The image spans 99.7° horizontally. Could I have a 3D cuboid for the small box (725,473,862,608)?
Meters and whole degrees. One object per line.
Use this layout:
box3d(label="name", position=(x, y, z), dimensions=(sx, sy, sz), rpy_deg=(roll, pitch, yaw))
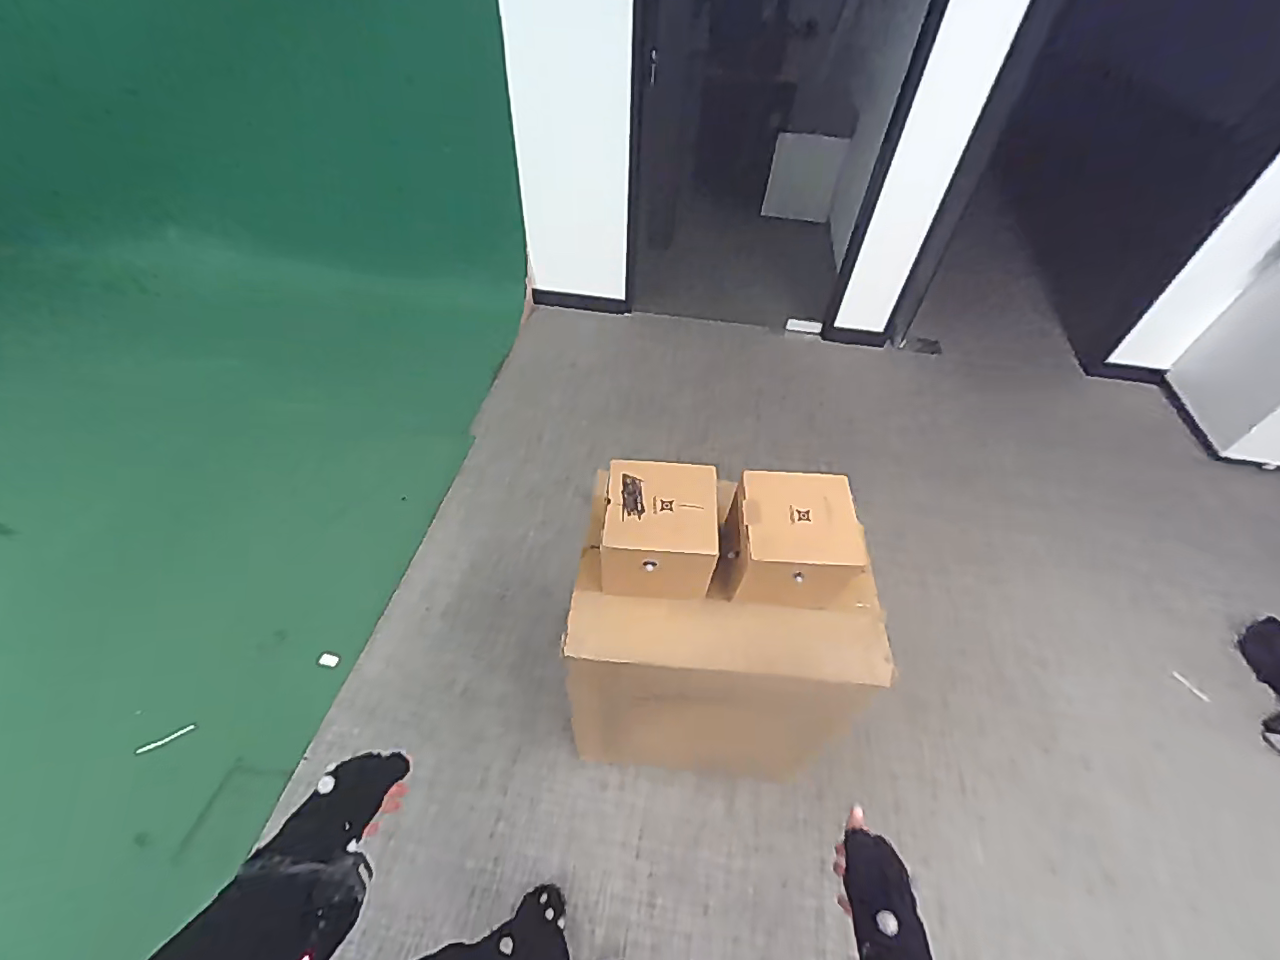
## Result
box3d(label="small box", position=(0.243, 0.106, 0.908), dimensions=(0.179, 0.176, 0.168), rpy_deg=(4, 55, -2))

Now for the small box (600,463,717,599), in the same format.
box3d(label="small box", position=(0.029, 0.090, 0.907), dimensions=(0.179, 0.176, 0.168), rpy_deg=(4, 54, 0))
